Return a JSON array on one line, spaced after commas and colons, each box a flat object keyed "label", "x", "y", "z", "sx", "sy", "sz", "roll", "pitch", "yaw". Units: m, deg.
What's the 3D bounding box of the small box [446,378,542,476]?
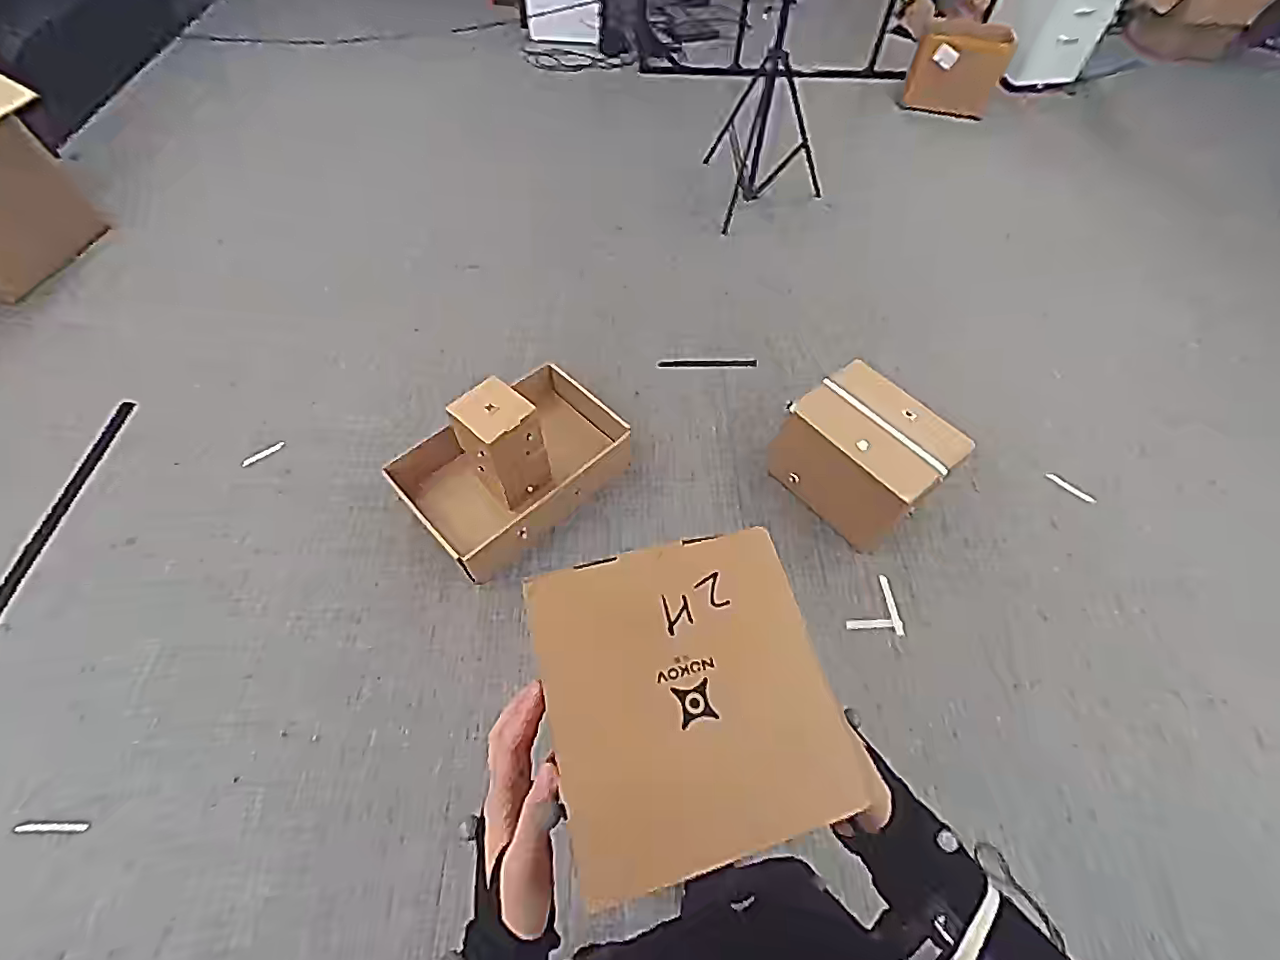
[{"label": "small box", "x": -0.385, "y": -0.134, "z": 1.461, "sx": 0.179, "sy": 0.176, "sz": 0.168, "roll": 36, "pitch": 62, "yaw": 21}]

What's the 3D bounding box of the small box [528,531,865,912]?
[{"label": "small box", "x": 0.019, "y": 0.159, "z": 0.391, "sx": 0.168, "sy": 0.176, "sz": 0.179, "roll": -11, "pitch": 67, "yaw": -15}]

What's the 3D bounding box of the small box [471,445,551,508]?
[{"label": "small box", "x": -0.384, "y": -0.049, "z": 1.599, "sx": 0.168, "sy": 0.176, "sz": 0.179, "roll": -39, "pitch": 67, "yaw": -23}]
